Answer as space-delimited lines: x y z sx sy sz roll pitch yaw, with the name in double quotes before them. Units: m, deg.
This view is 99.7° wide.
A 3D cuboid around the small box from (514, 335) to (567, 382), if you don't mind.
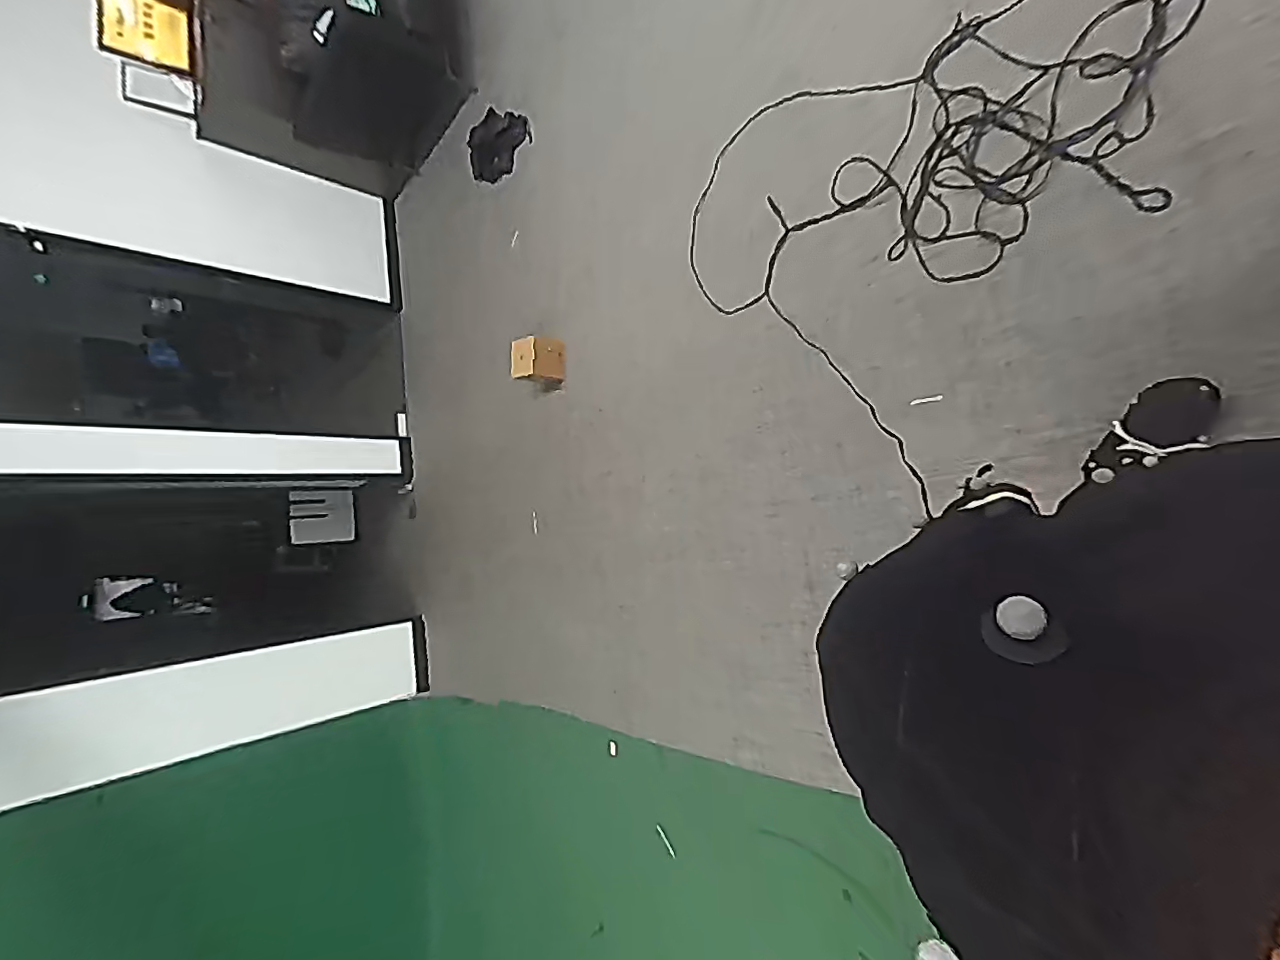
"small box" -0.438 -0.533 2.391 0.179 0.176 0.168 1 89 47
